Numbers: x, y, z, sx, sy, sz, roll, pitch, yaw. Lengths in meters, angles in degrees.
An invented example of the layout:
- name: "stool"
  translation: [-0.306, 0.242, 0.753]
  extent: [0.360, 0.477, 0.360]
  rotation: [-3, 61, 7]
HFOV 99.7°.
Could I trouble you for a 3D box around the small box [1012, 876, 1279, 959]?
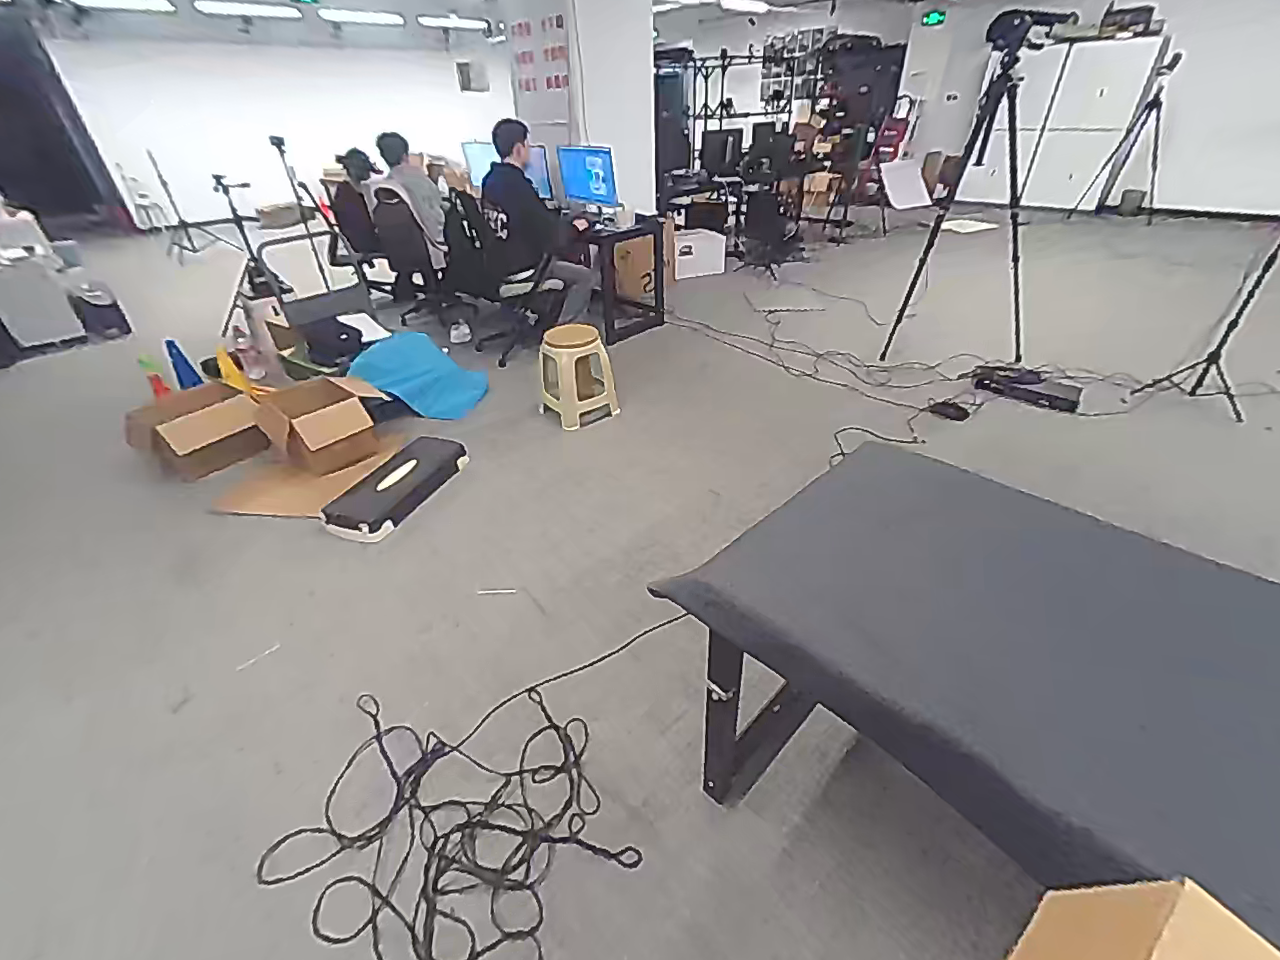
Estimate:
- name: "small box"
  translation: [0.343, 0.395, 0.340]
  extent: [0.179, 0.176, 0.168]
  rotation: [-35, 56, -22]
